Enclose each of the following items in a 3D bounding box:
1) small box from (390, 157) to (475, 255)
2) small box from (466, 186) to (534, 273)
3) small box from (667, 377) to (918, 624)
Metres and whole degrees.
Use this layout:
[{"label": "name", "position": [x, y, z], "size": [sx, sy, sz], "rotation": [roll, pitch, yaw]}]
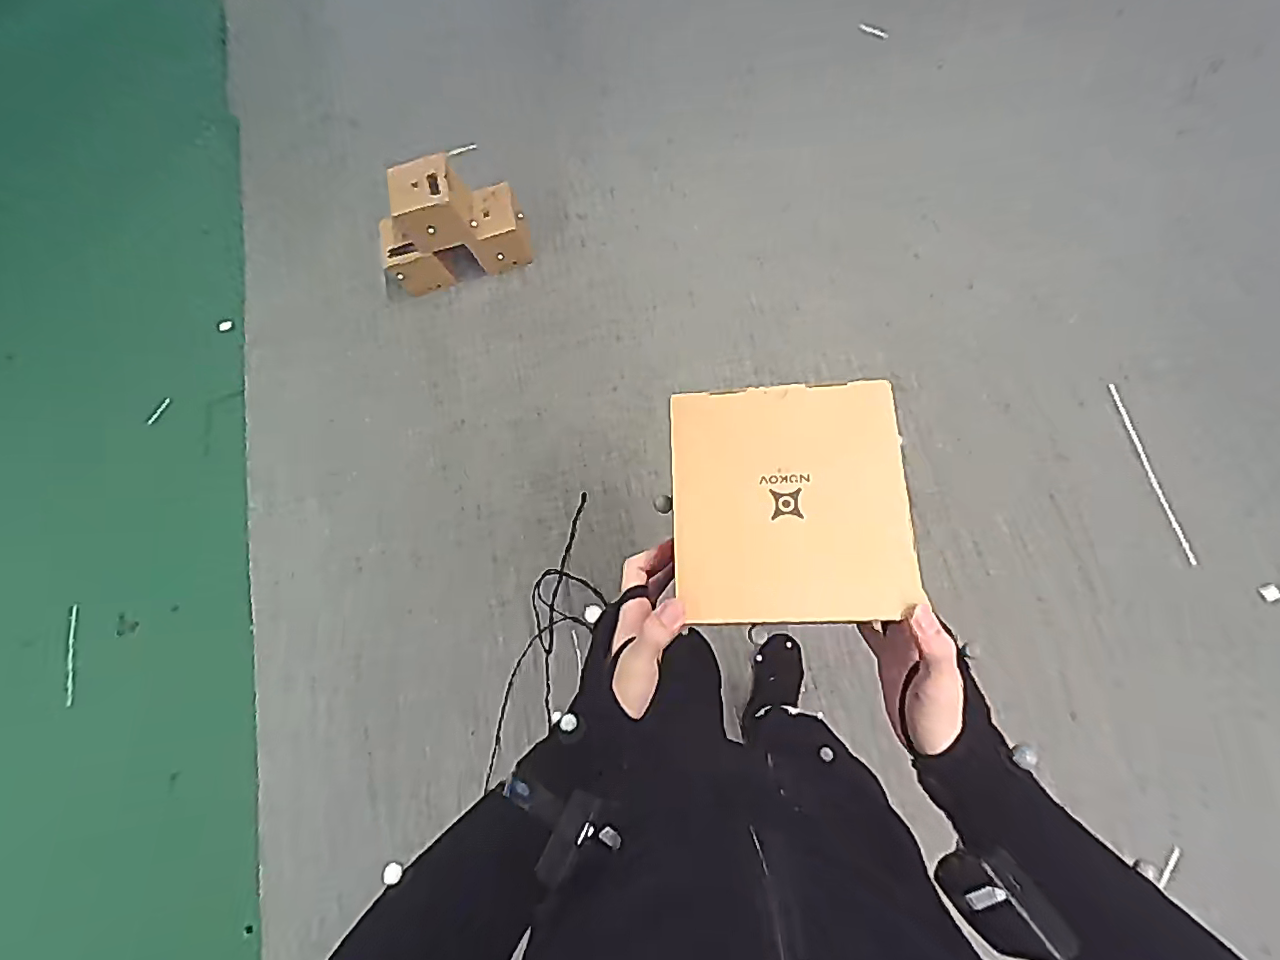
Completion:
[{"label": "small box", "position": [-0.595, -0.788, 1.572], "size": [0.179, 0.176, 0.168], "rotation": [-12, 76, 7]}, {"label": "small box", "position": [-0.447, -0.783, 1.716], "size": [0.168, 0.176, 0.179], "rotation": [-13, 76, 6]}, {"label": "small box", "position": [0.115, 0.032, 0.466], "size": [0.168, 0.176, 0.179], "rotation": [-4, 72, 7]}]
